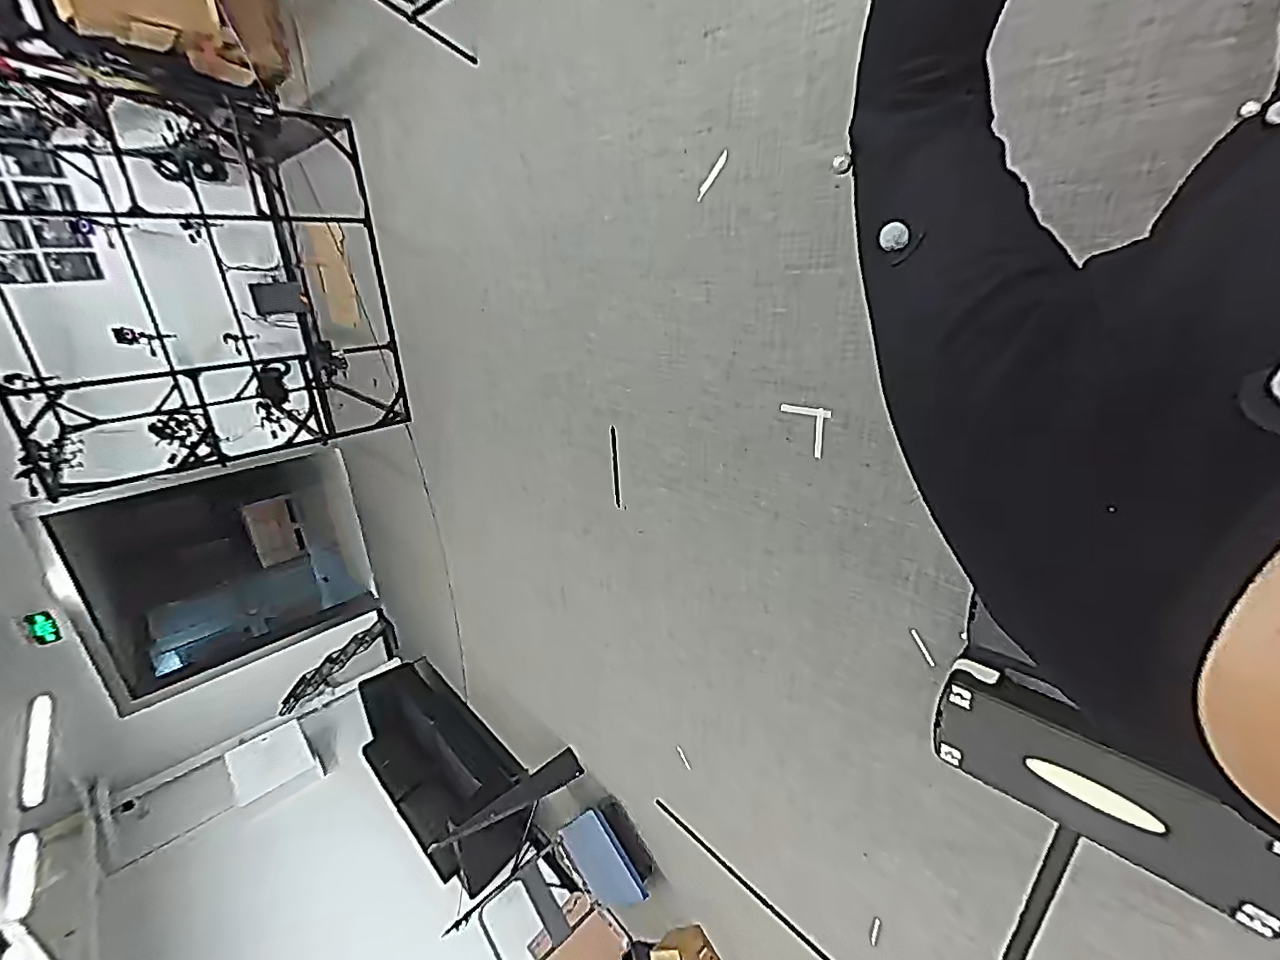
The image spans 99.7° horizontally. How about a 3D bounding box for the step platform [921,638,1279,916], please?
[{"bbox_3d":[1.061,0.664,1.303,0.684,0.204,0.286,19,120,45],"label":"step platform"}]
